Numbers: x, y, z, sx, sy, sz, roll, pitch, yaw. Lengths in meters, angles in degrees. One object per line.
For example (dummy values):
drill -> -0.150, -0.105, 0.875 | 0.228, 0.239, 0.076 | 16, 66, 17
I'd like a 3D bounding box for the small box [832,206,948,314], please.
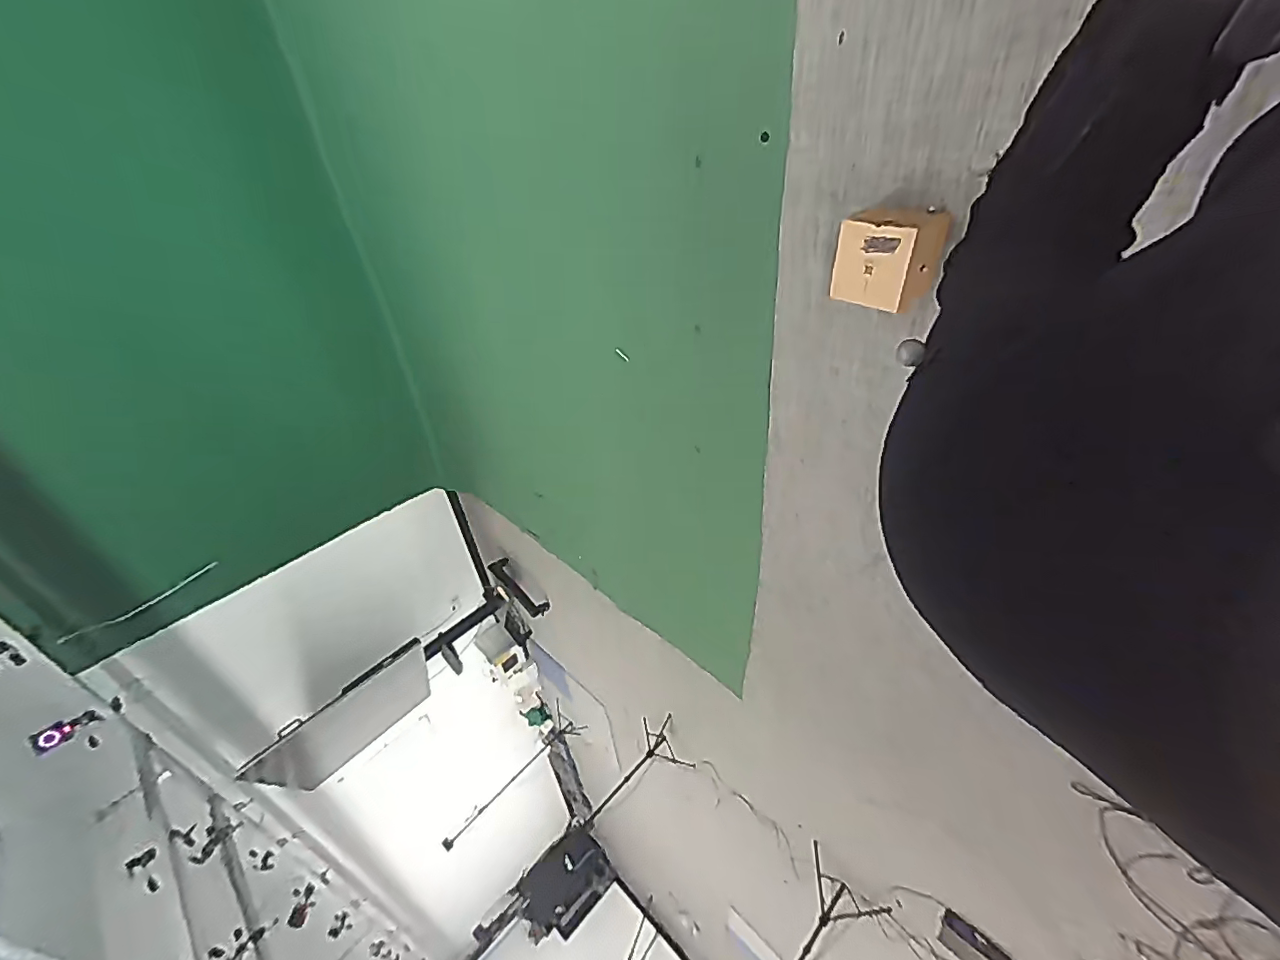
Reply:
small box -> 0.561, -0.501, 1.212 | 0.168, 0.176, 0.179 | 31, 140, 35
